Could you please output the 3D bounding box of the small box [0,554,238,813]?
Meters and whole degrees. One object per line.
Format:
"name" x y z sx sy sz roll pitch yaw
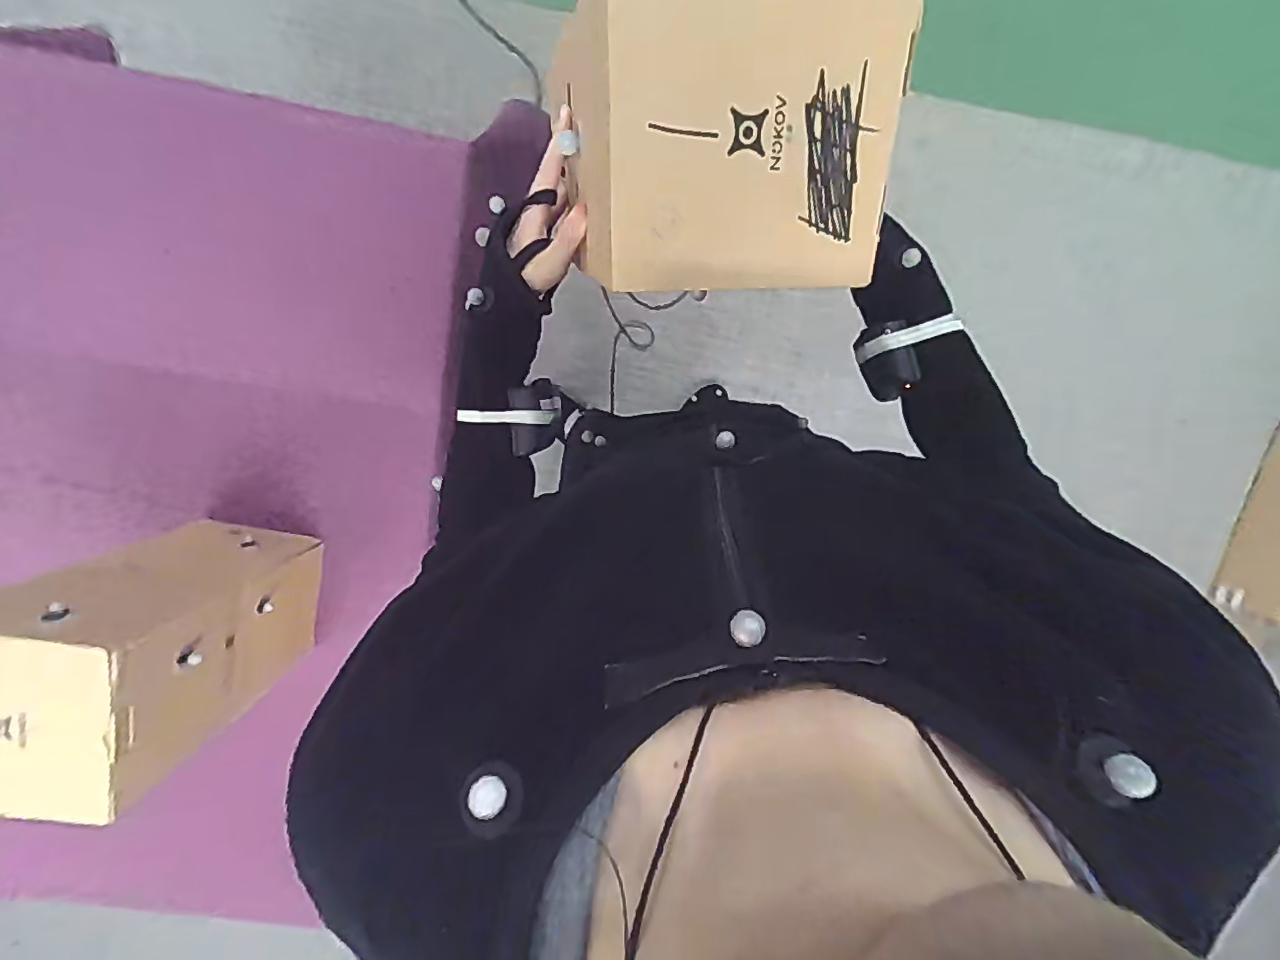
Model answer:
"small box" -0.535 0.181 0.525 0.179 0.176 0.168 9 98 -3

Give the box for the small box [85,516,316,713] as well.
"small box" -0.543 0.159 0.687 0.168 0.176 0.179 10 99 -4

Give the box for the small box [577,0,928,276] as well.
"small box" 0.054 -0.237 0.373 0.179 0.176 0.168 -4 115 -11
